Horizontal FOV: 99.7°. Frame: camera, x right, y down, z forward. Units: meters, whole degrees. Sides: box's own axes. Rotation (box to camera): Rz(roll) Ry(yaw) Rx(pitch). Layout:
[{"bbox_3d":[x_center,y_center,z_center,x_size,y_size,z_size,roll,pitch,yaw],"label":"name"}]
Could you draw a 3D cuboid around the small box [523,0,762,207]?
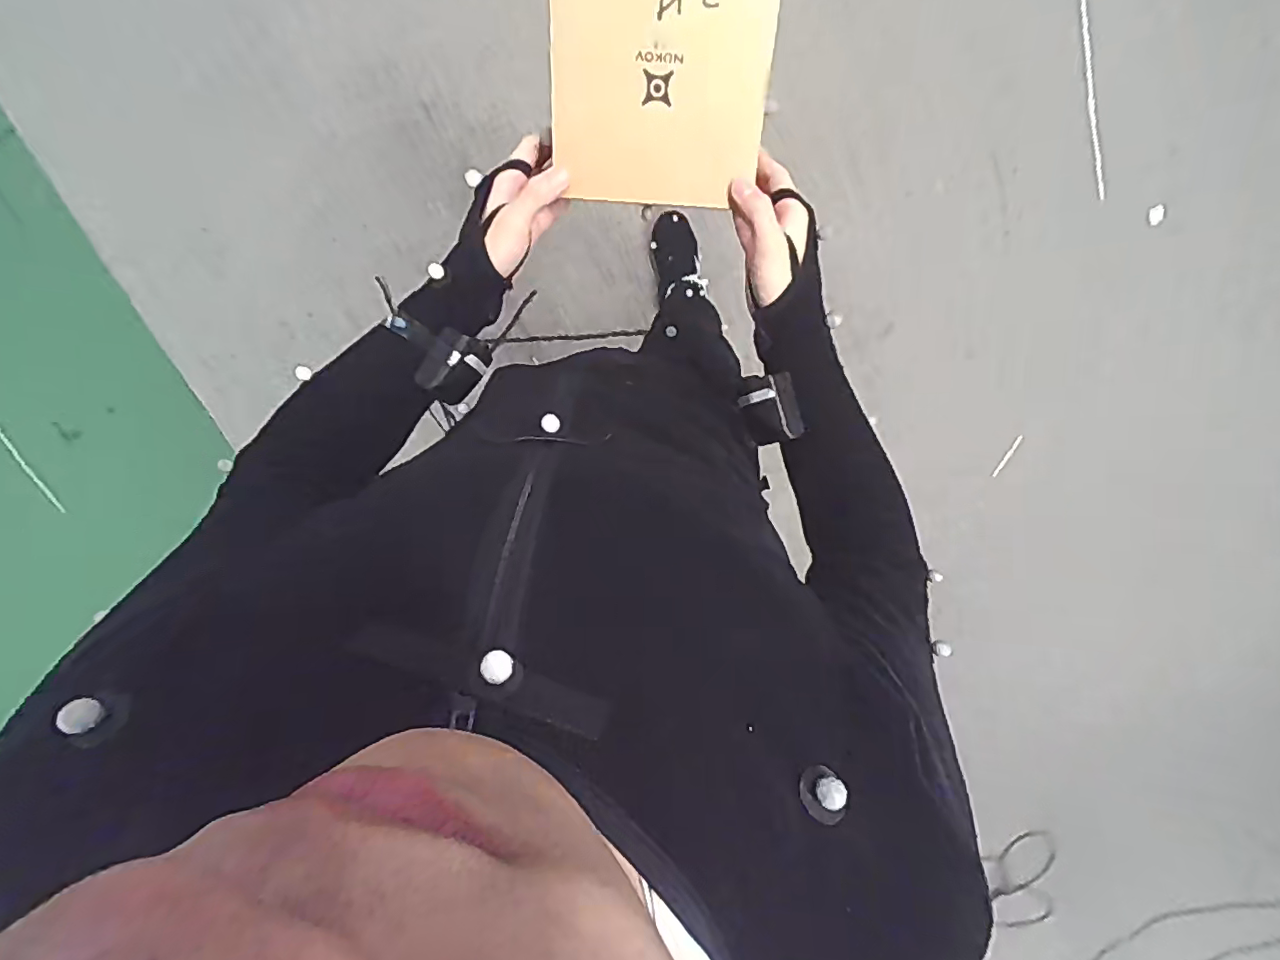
[{"bbox_3d":[0.001,-0.337,0.456,0.168,0.176,0.179,5,118,-1],"label":"small box"}]
